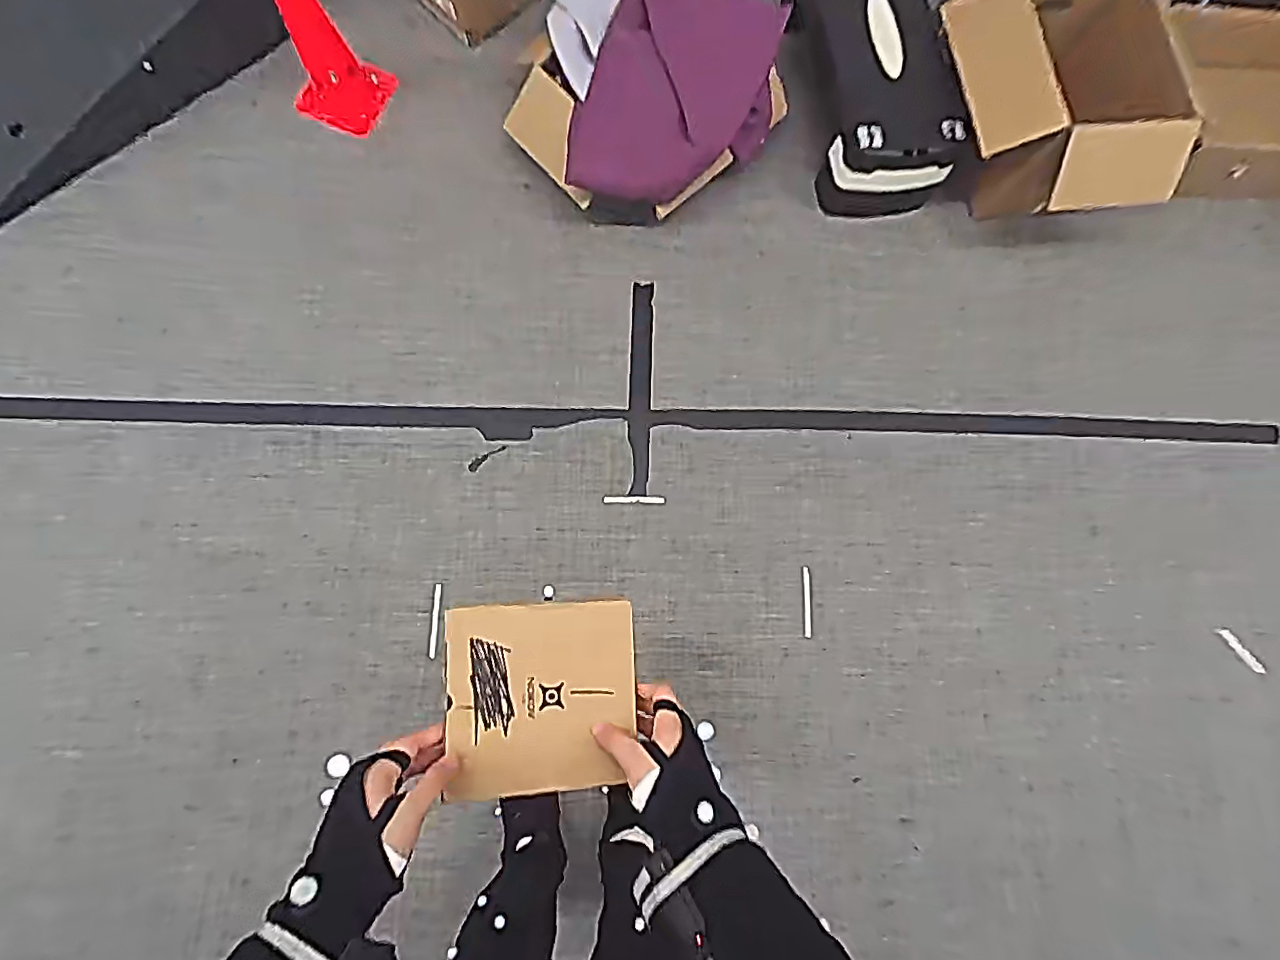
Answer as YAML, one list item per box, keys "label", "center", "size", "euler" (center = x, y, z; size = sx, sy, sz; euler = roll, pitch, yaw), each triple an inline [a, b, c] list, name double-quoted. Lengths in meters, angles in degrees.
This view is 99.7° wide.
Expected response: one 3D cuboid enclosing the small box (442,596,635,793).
- label: "small box"
  center: [-0.106, 0.213, 0.584]
  size: [0.179, 0.176, 0.168]
  euler: [0, 80, -11]
